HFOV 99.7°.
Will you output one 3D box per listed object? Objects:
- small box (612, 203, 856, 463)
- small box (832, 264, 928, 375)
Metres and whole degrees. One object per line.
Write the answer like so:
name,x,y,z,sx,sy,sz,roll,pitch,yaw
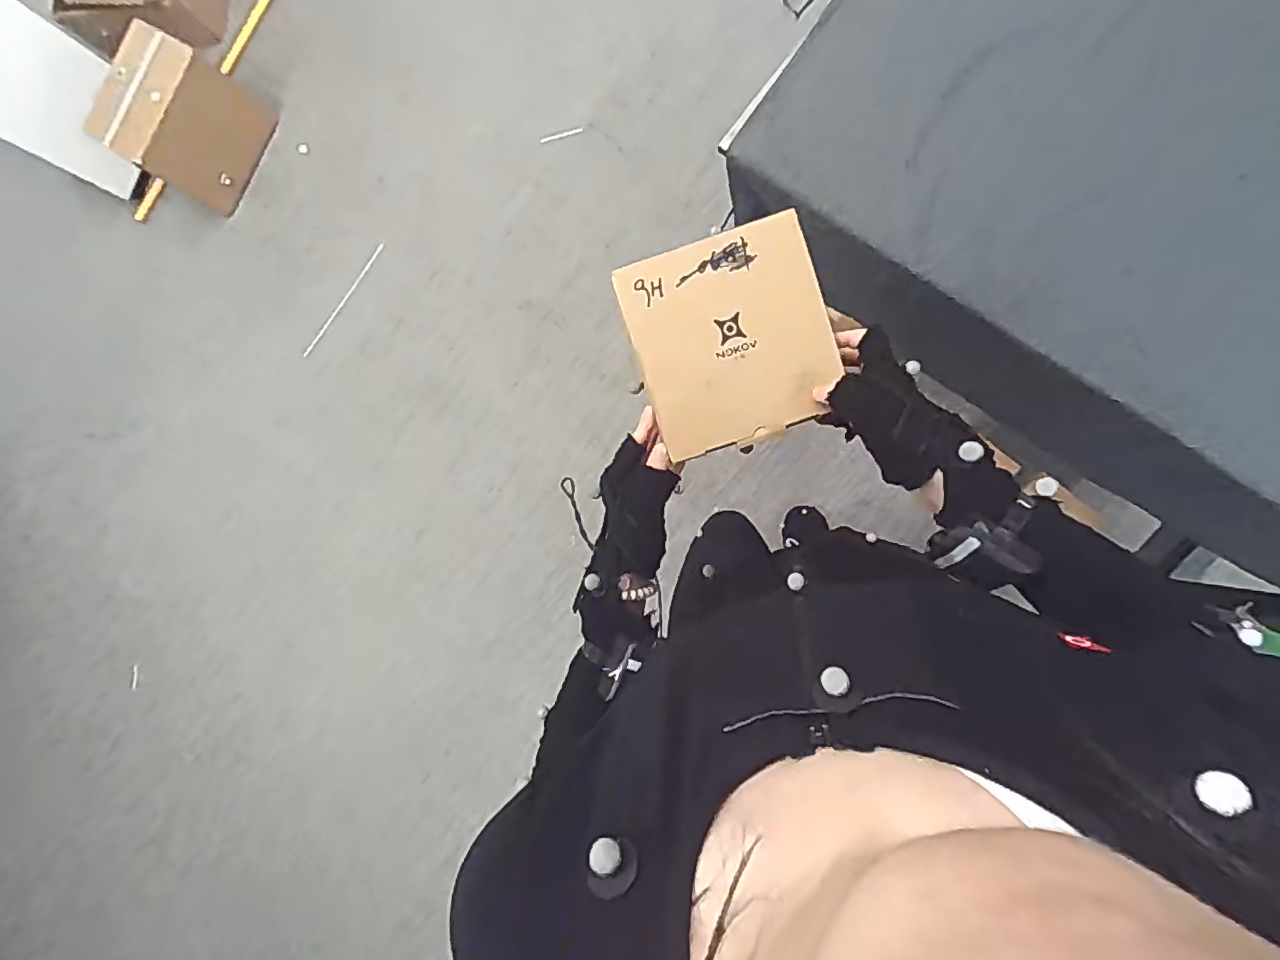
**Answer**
small box,0.081,-0.128,0.526,0.168,0.176,0.179,-18,95,2
small box,0.575,-0.395,1.361,0.179,0.176,0.168,-43,77,6
